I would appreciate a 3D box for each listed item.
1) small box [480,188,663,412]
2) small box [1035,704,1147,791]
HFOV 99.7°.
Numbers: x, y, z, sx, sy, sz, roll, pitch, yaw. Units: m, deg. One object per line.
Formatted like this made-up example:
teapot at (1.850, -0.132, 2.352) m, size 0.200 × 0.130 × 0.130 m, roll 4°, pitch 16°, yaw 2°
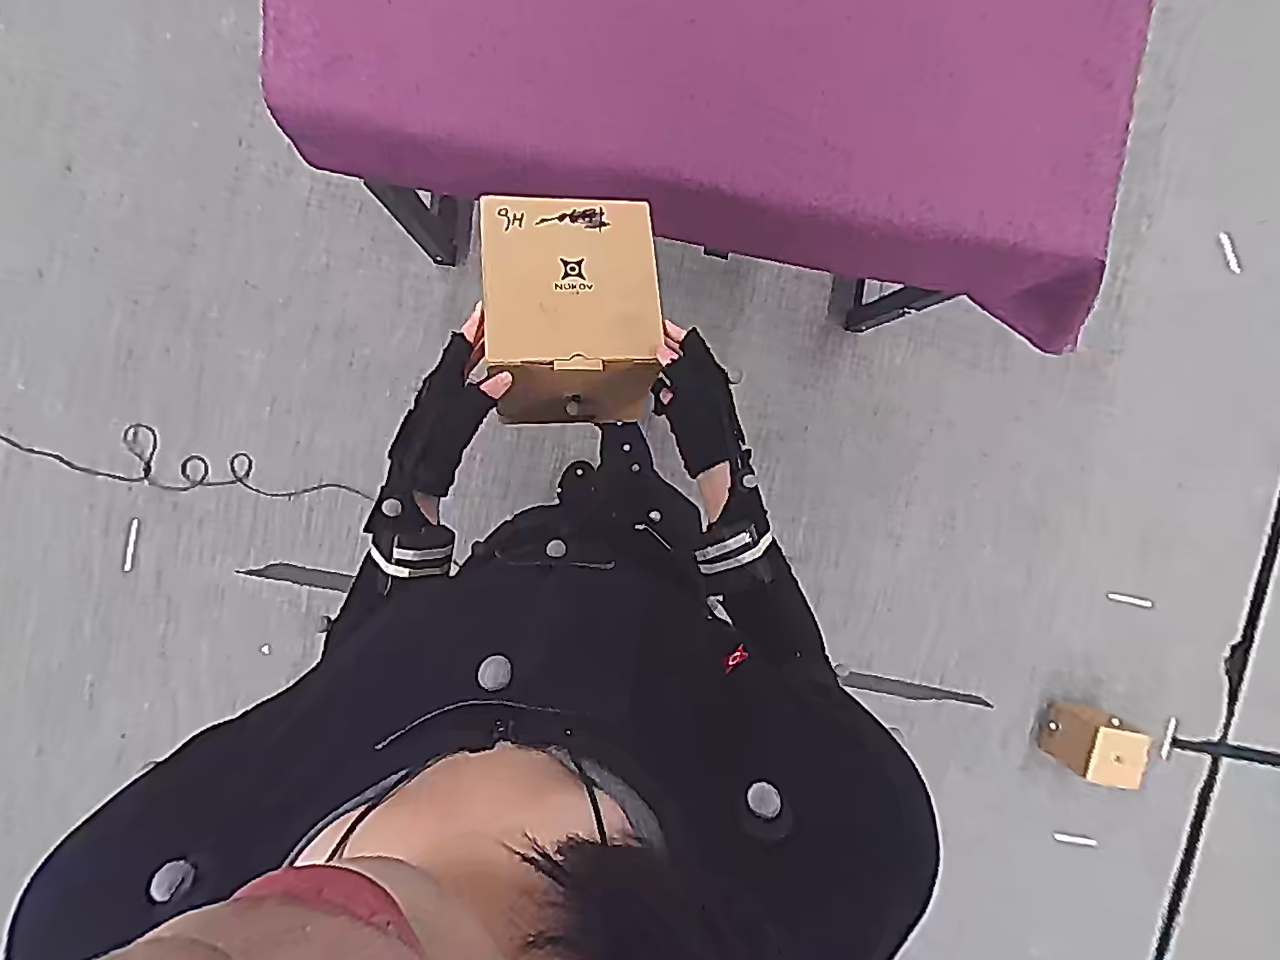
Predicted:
small box at (-0.077, -0.178, 0.583) m, size 0.168 × 0.176 × 0.179 m, roll -3°, pitch 78°, yaw -11°
small box at (1.353, 0.799, 1.631) m, size 0.179 × 0.176 × 0.168 m, roll 12°, pitch 92°, yaw -6°
